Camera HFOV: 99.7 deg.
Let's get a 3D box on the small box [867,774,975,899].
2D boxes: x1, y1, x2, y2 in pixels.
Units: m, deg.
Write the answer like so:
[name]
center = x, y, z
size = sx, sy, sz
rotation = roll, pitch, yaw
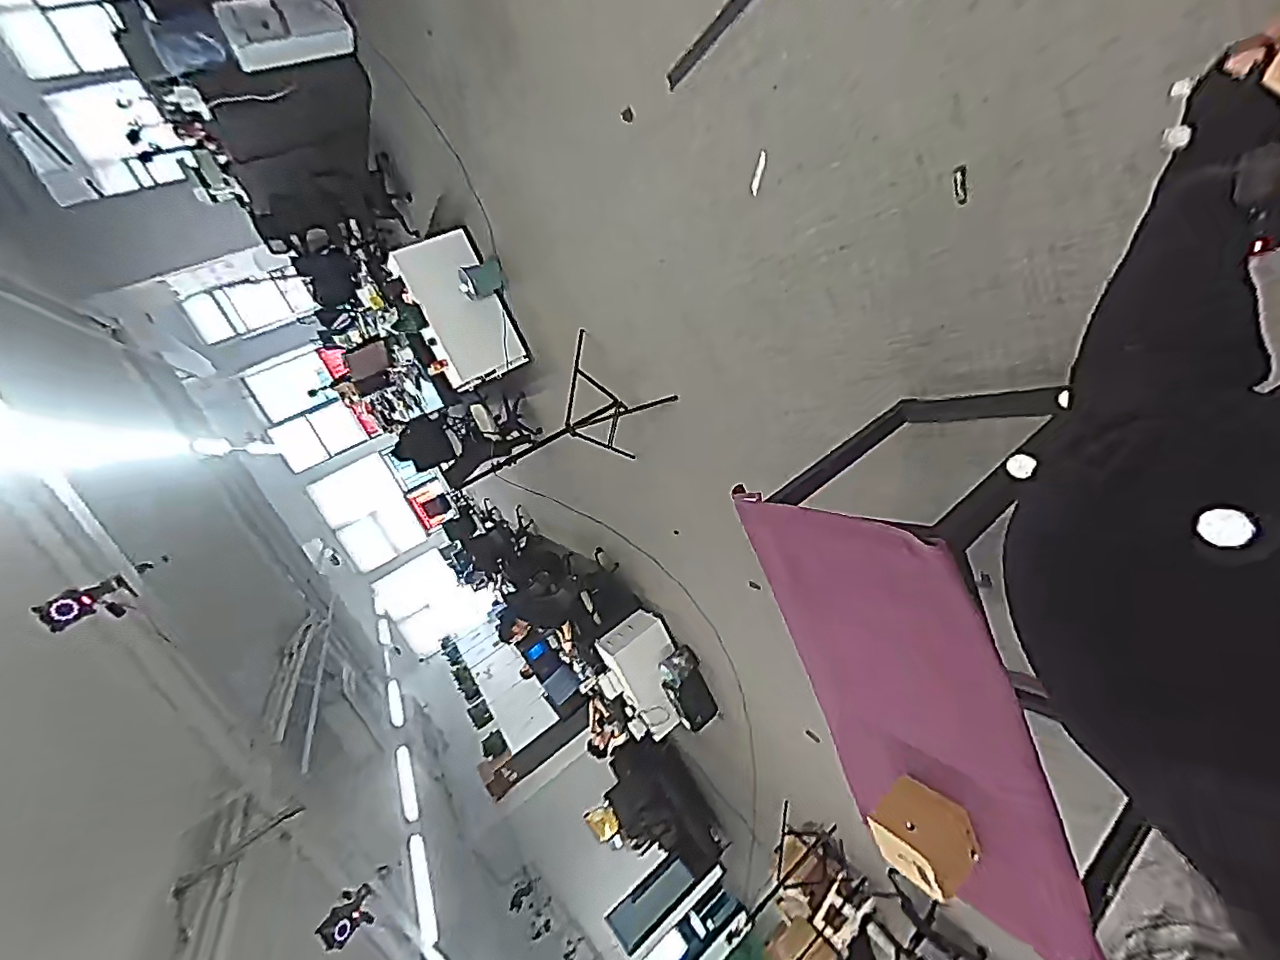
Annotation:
[small box]
center = 0.732, 0.905, 1.395
size = 0.179, 0.176, 0.168
rotation = 6, 125, 62
